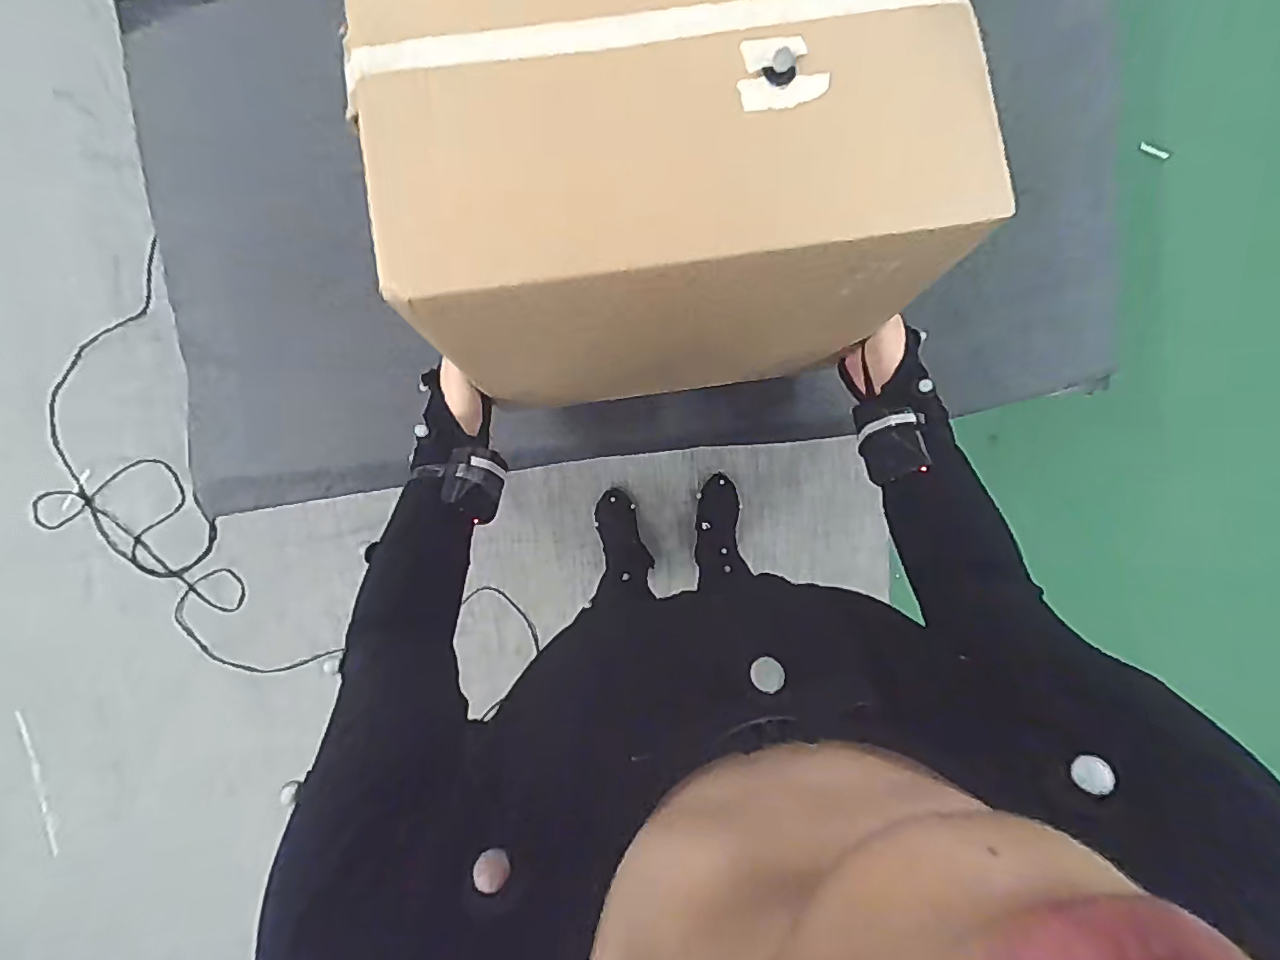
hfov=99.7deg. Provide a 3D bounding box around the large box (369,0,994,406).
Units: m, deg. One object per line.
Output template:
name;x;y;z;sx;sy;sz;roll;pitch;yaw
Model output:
large box;0.015;-0.282;0.517;0.408;0.320;0.320;-8;84;-2
